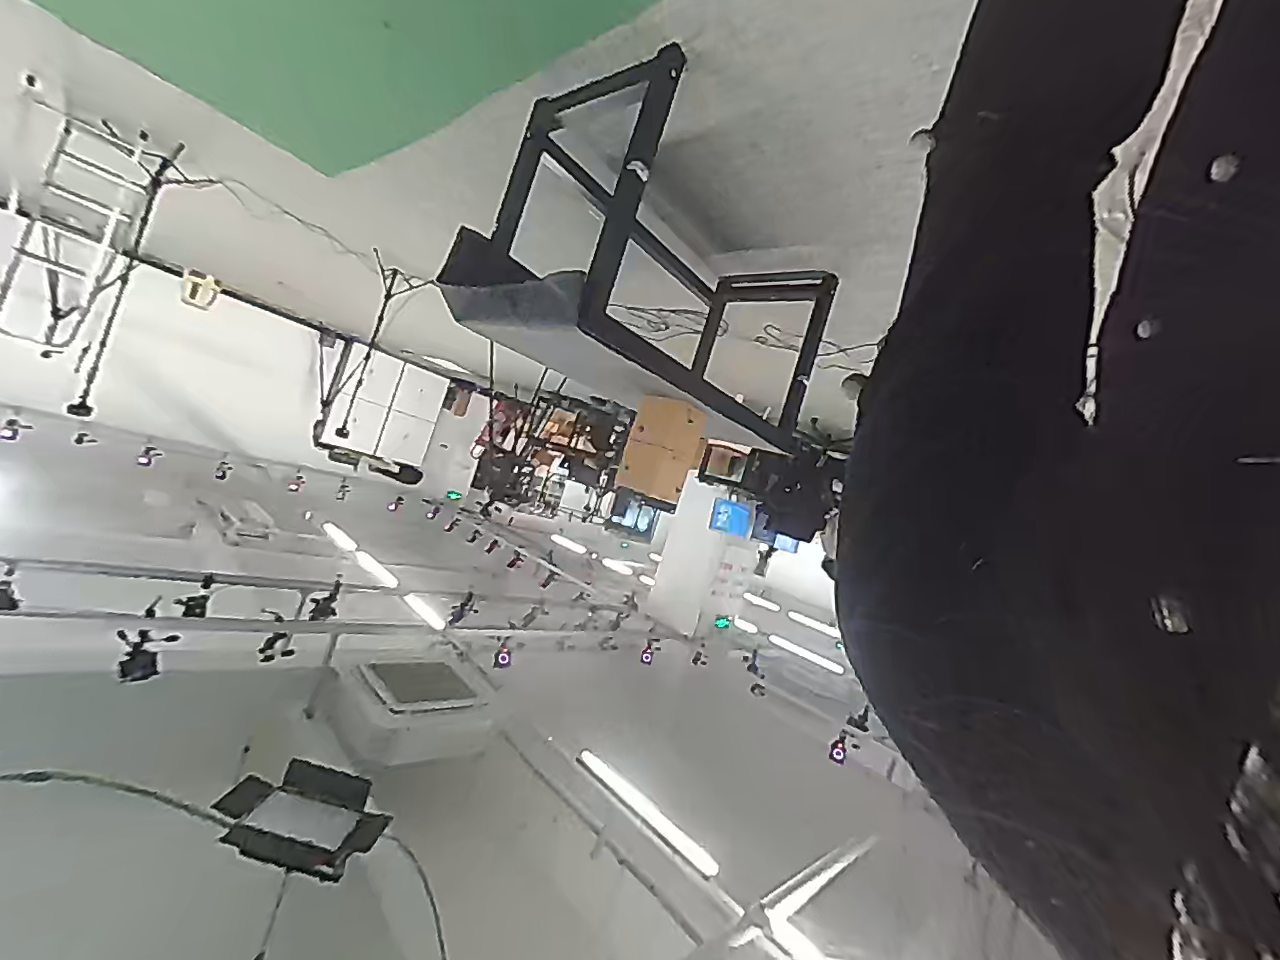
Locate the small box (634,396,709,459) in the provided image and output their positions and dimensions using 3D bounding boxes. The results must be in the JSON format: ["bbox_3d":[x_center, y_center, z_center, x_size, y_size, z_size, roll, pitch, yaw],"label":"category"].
[{"bbox_3d":[0.114,-0.185,1.883,0.179,0.176,0.168,16,179,43],"label":"small box"}]
